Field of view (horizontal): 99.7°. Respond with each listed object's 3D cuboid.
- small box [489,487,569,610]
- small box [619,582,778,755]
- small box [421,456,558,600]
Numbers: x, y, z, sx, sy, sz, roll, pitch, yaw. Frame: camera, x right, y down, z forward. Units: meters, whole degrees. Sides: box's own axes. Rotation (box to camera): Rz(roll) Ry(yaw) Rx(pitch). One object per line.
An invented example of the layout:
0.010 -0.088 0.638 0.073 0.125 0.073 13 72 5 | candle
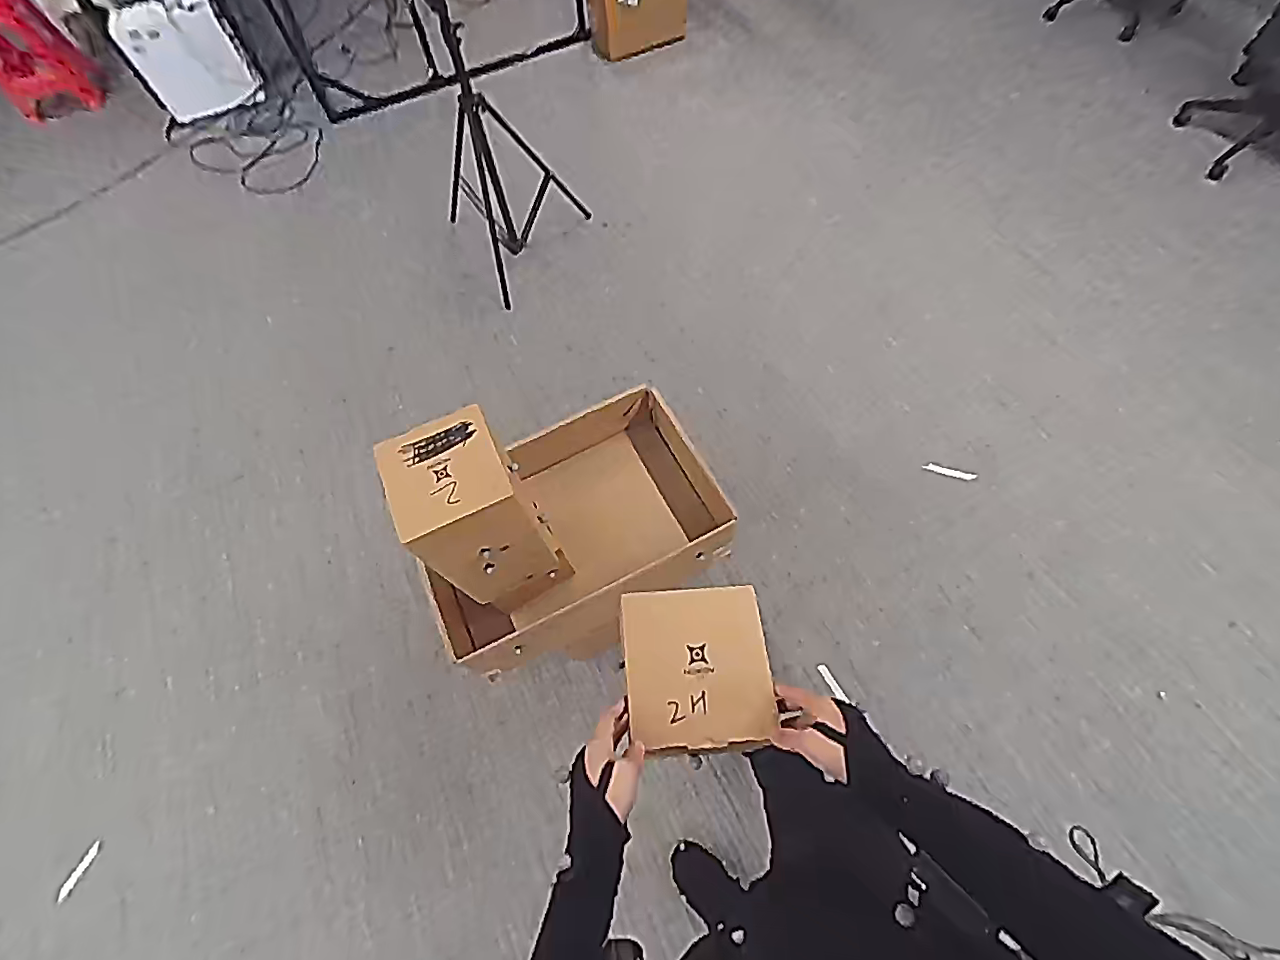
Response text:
-0.263 0.149 1.140 0.179 0.176 0.168 -31 65 -10 | small box
0.059 0.243 0.689 0.168 0.176 0.179 -2 60 -4 | small box
-0.268 0.092 0.986 0.168 0.176 0.179 -26 63 -8 | small box
